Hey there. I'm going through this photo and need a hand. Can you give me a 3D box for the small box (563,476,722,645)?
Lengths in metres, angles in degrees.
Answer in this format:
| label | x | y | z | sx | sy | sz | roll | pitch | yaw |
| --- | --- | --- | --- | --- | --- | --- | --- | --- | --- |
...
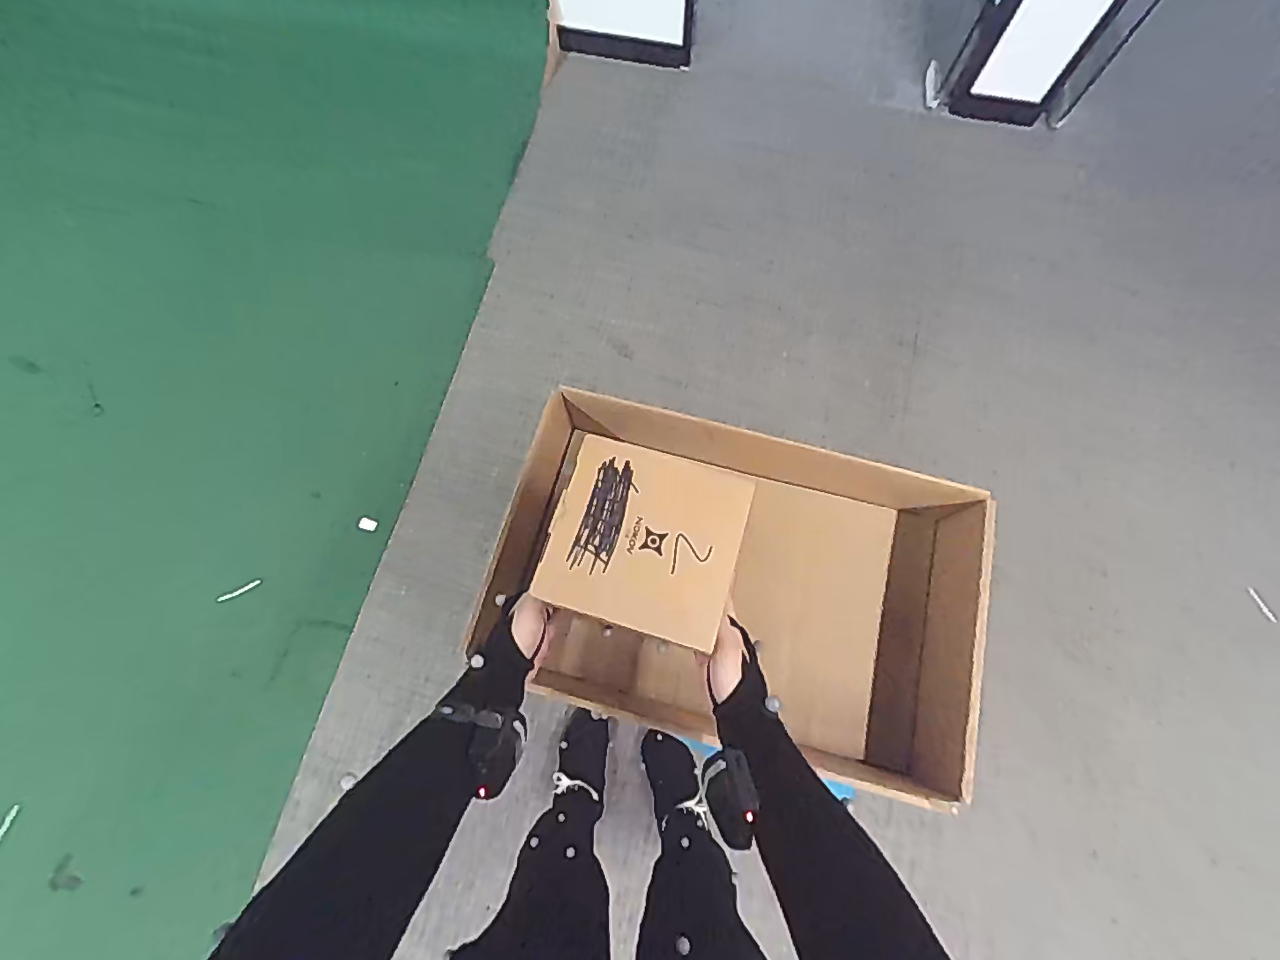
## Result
| label | x | y | z | sx | sy | sz | roll | pitch | yaw |
| --- | --- | --- | --- | --- | --- | --- | --- | --- | --- |
| small box | 0.005 | 0.118 | 0.739 | 0.168 | 0.176 | 0.179 | 13 | 73 | 5 |
